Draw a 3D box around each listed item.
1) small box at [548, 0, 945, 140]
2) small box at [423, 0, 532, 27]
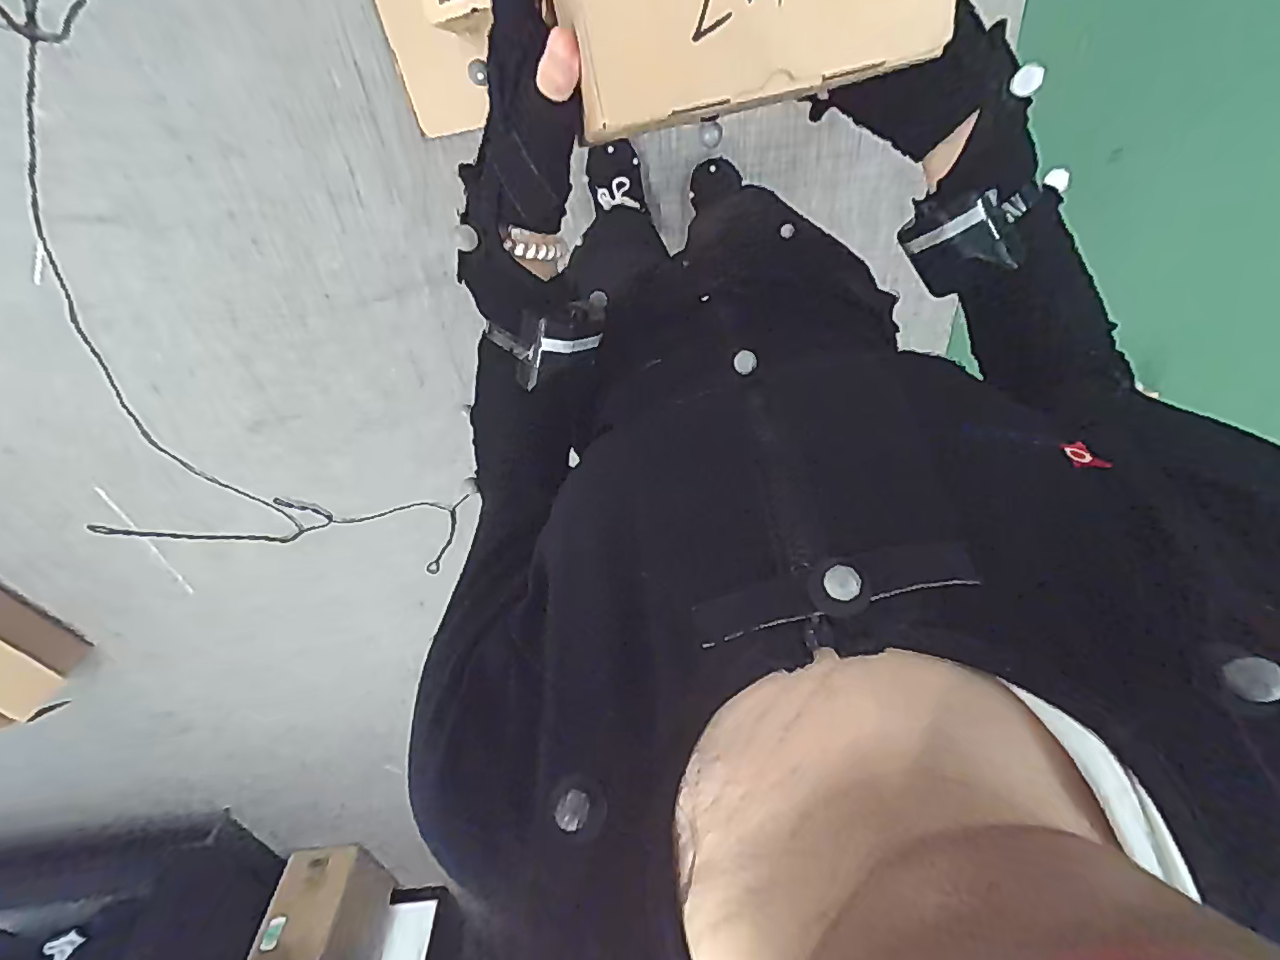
[{"bbox_3d":[0.032,-0.291,0.273,0.168,0.176,0.179,-14,121,-3],"label":"small box"},{"bbox_3d":[-0.293,-0.904,0.924,0.168,0.176,0.179,-10,125,5],"label":"small box"}]
